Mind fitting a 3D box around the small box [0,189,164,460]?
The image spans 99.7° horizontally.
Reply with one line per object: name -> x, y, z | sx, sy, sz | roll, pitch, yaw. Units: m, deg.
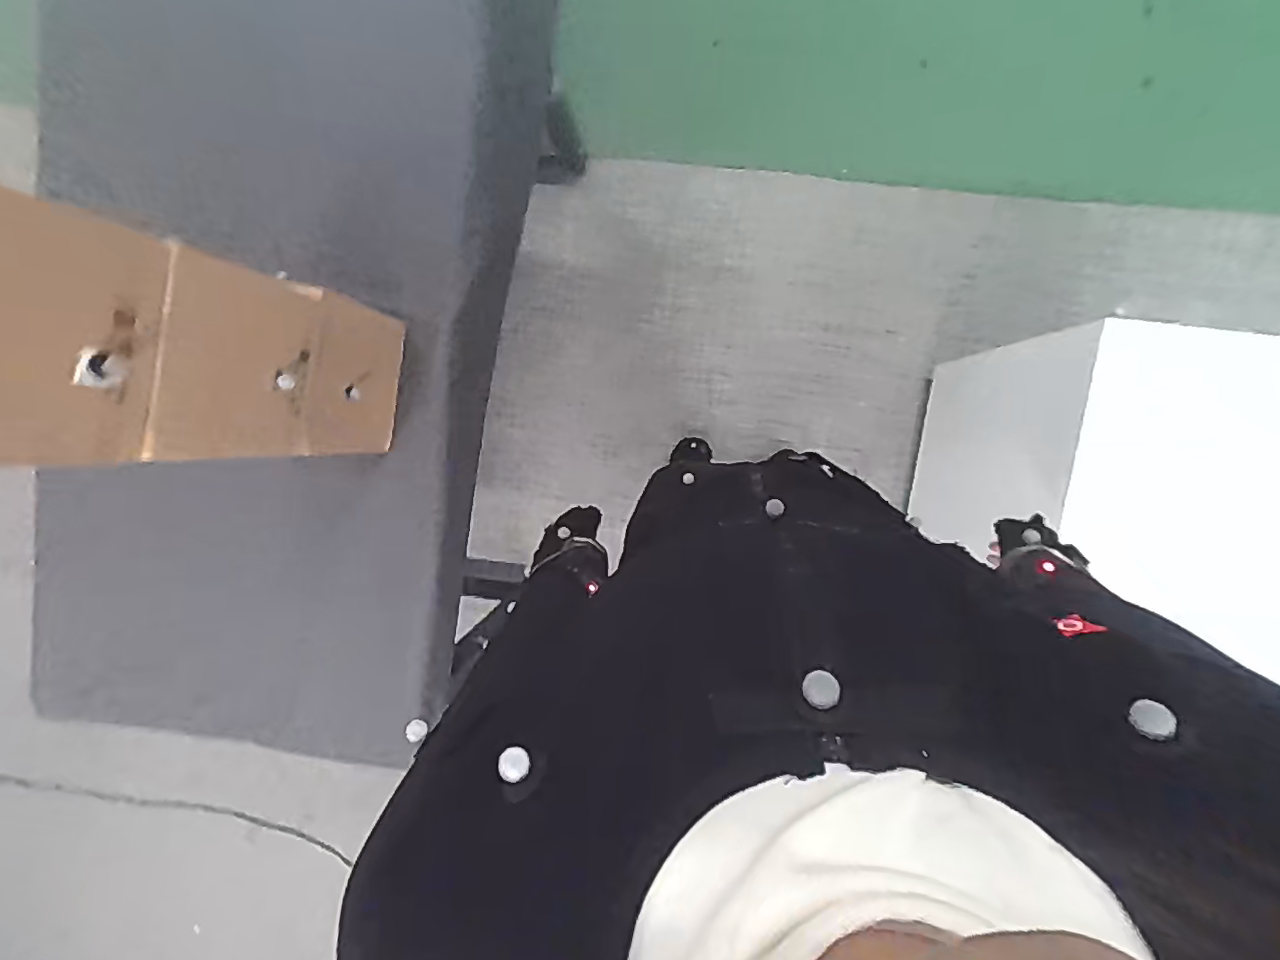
small box -> -0.459, -0.106, 0.335 | 0.179, 0.176, 0.168 | 13, 97, 4

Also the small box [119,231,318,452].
small box -> -0.440, -0.120, 0.494 | 0.179, 0.176, 0.168 | 11, 95, 7

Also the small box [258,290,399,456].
small box -> -0.418, -0.132, 0.657 | 0.168, 0.176, 0.179 | 11, 96, 5
